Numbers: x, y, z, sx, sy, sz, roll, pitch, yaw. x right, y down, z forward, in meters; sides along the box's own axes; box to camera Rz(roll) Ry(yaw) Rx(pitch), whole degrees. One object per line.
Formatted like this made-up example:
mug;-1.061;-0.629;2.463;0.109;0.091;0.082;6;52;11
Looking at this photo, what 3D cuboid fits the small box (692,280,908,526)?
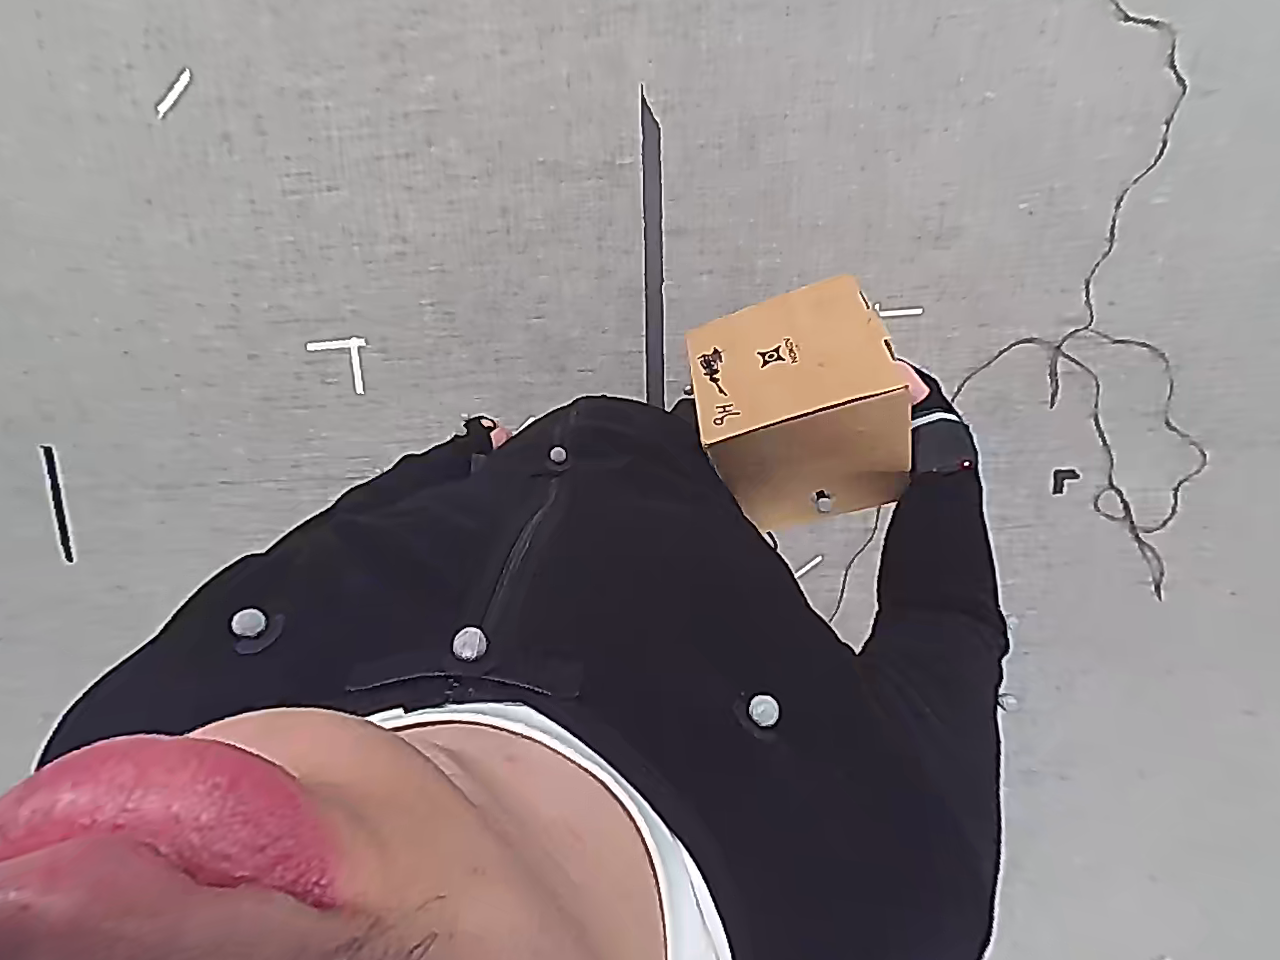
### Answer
small box;0.169;-0.074;0.581;0.179;0.168;0.176;-16;139;15
